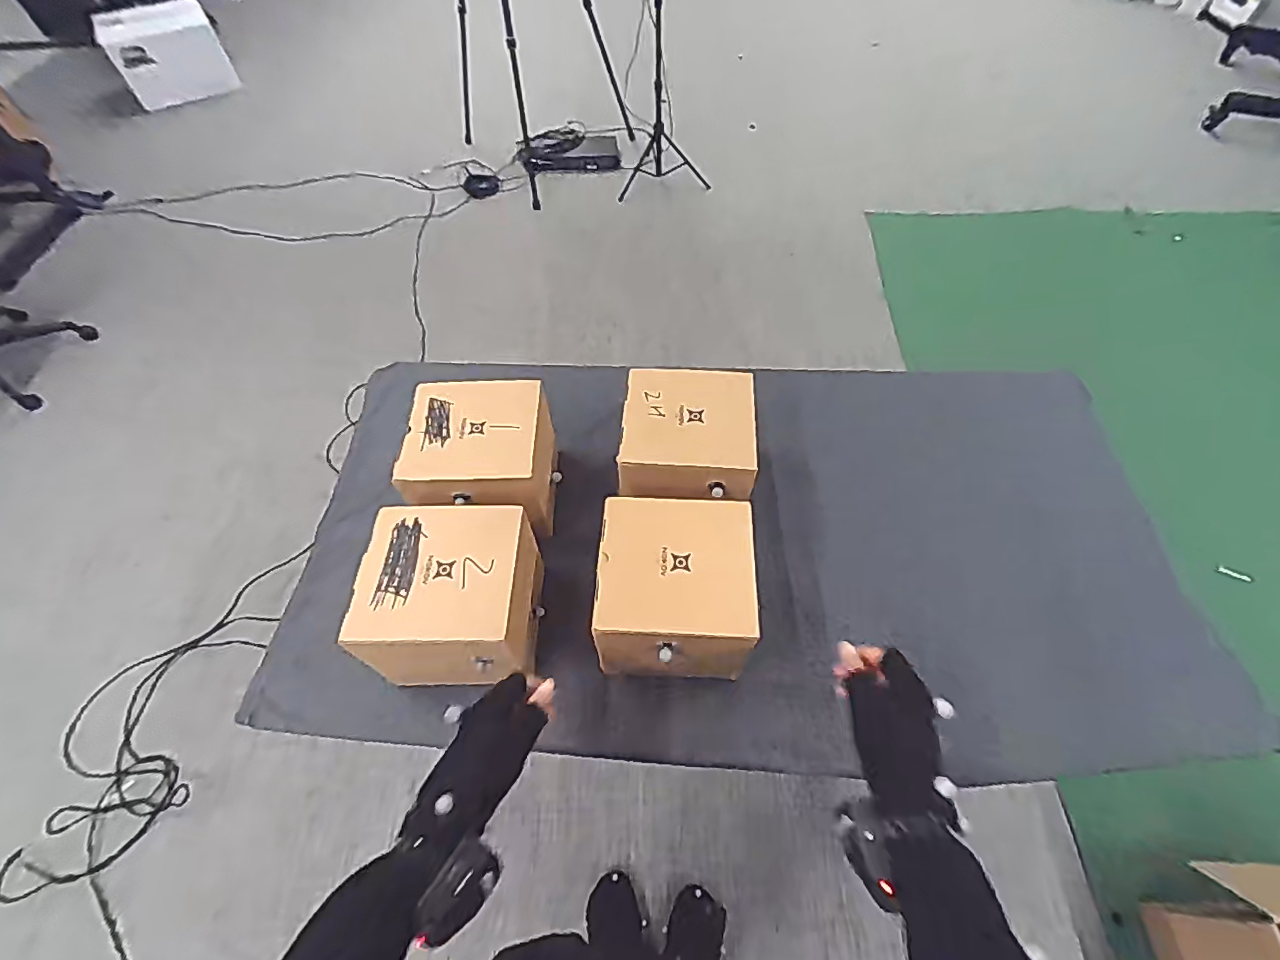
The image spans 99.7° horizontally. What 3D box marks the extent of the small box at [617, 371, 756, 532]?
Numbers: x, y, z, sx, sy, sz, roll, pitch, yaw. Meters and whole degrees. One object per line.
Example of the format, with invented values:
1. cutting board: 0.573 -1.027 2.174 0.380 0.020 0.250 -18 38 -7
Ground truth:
1. small box: 0.065 -0.036 0.780 0.179 0.176 0.168 3 57 4
